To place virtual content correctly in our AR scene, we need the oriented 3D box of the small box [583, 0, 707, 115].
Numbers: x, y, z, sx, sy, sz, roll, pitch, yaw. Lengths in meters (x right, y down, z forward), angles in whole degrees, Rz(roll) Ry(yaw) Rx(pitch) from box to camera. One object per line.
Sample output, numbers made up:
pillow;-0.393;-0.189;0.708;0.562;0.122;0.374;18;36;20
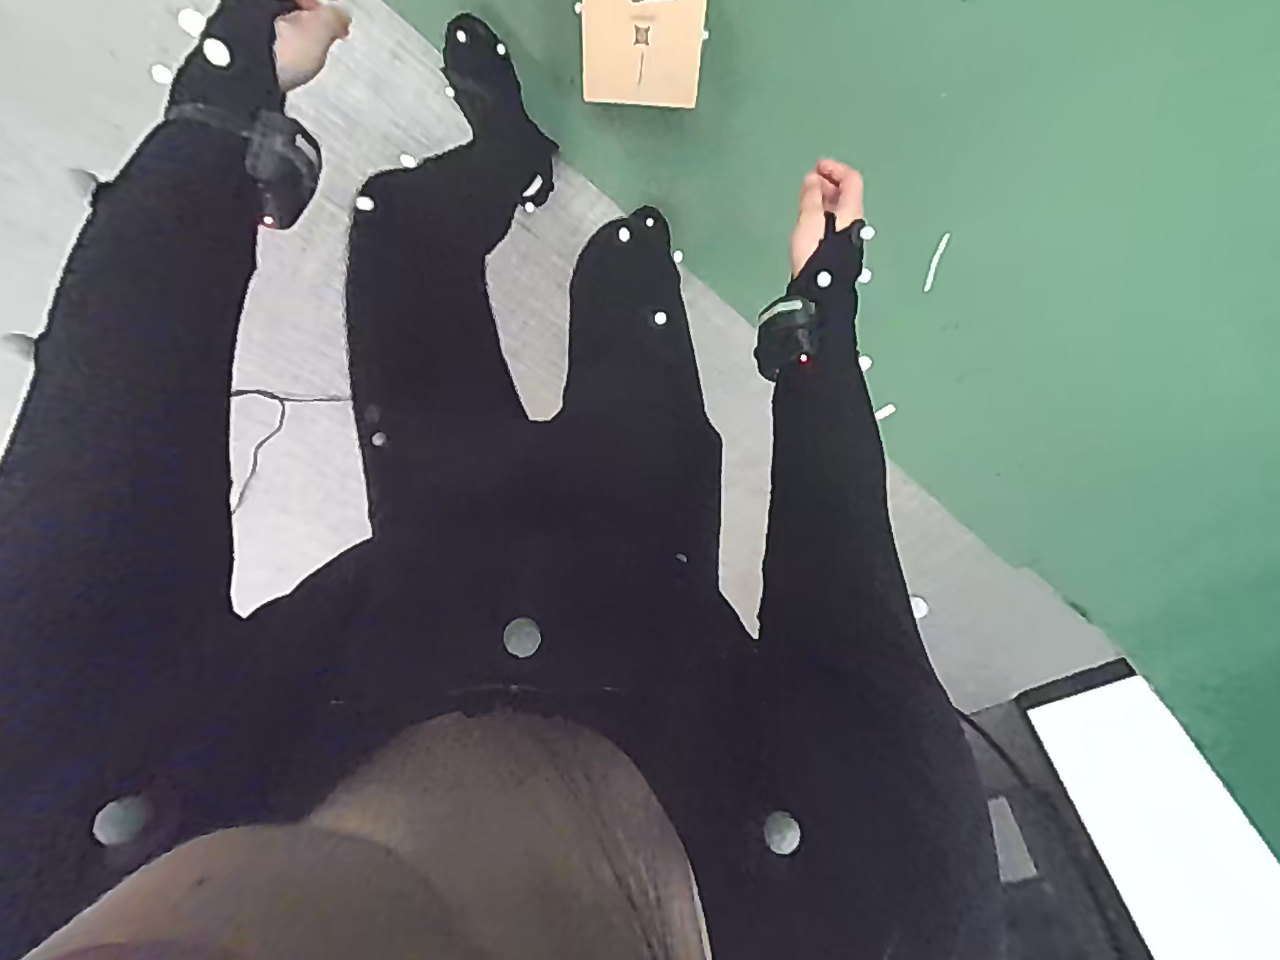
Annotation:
small box;0.003;-0.656;0.787;0.168;0.176;0.179;3;134;-2
